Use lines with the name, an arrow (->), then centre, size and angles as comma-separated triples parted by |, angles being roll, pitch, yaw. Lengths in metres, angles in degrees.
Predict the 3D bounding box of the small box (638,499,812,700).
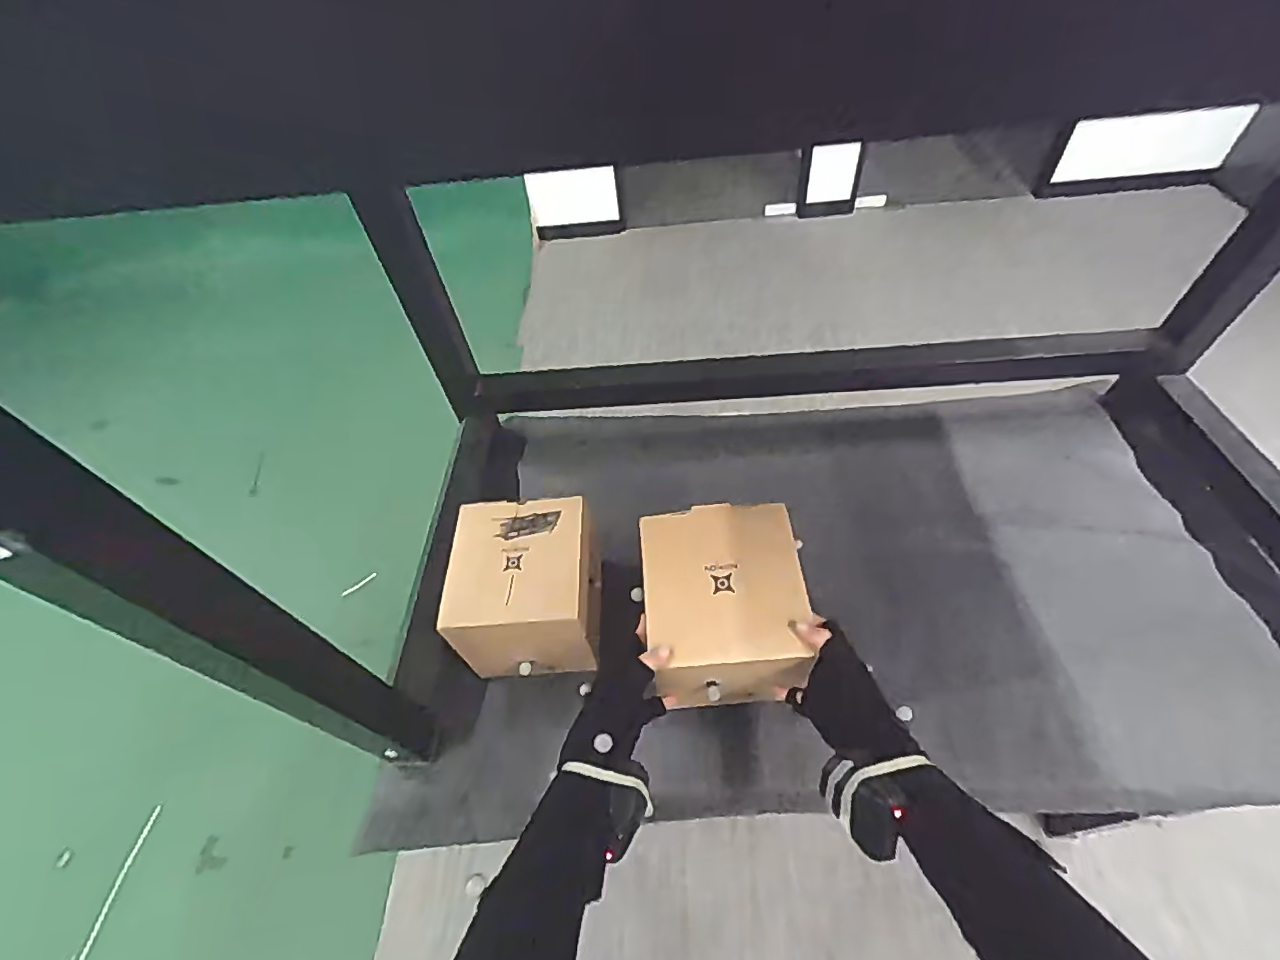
small box -> 0.091, 0.146, 0.627 | 0.168, 0.176, 0.179 | -6, 53, 4

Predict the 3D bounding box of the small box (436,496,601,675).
small box -> -0.147, 0.143, 0.723 | 0.168, 0.176, 0.179 | -5, 51, 3
